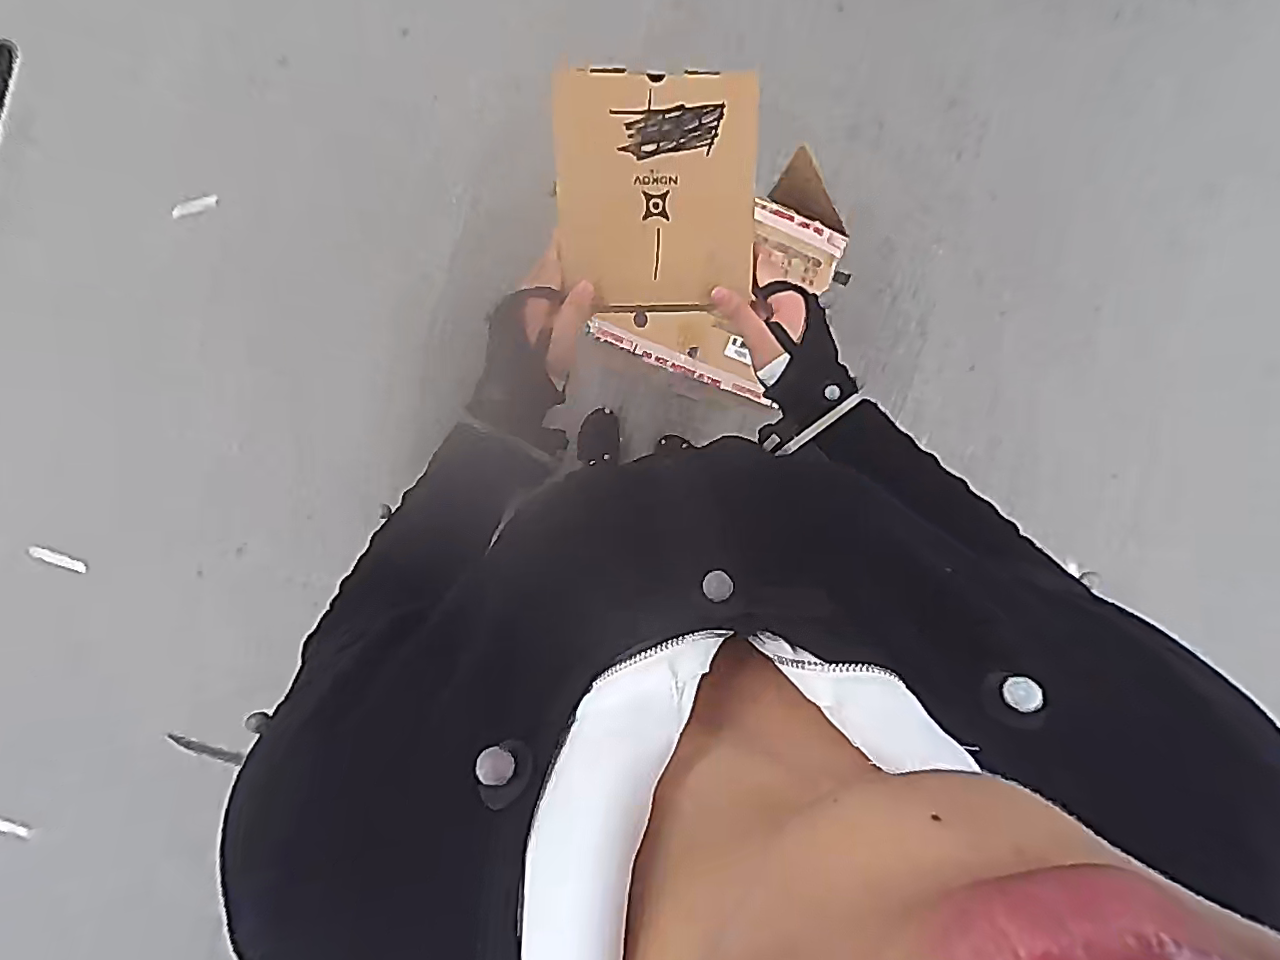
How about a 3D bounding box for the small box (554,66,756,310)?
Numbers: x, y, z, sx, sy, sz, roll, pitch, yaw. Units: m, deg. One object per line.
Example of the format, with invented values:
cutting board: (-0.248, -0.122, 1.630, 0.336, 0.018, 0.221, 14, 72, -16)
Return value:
small box: (0.007, -0.261, 0.522, 0.168, 0.176, 0.179, -3, 106, -4)
